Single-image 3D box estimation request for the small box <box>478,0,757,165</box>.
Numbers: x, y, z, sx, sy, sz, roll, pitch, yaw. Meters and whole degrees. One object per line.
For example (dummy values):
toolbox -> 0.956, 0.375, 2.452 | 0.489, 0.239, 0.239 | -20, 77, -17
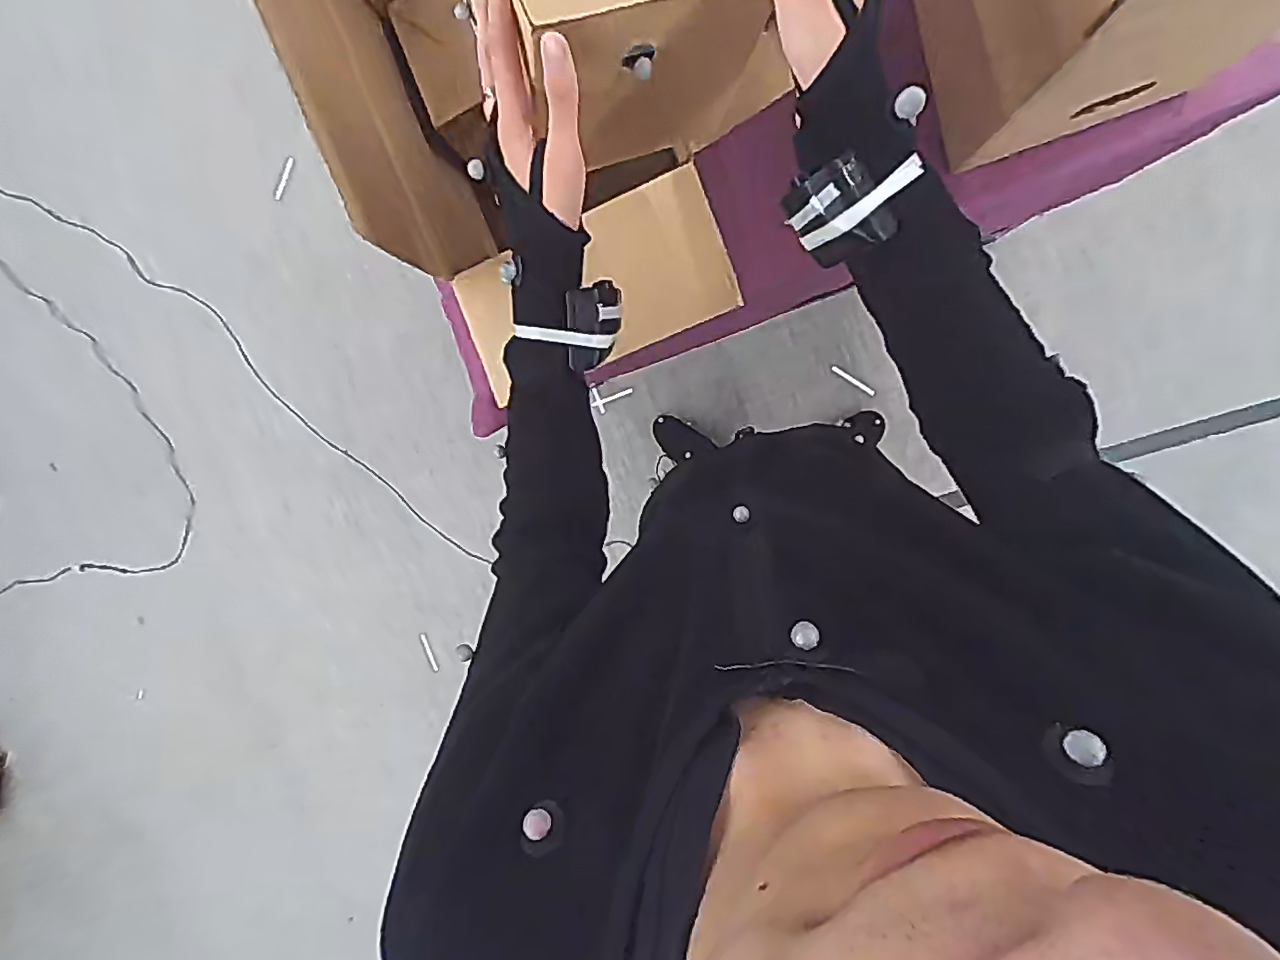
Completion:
small box -> -0.025, -0.370, 0.397 | 0.179, 0.176, 0.168 | -22, 94, -10
